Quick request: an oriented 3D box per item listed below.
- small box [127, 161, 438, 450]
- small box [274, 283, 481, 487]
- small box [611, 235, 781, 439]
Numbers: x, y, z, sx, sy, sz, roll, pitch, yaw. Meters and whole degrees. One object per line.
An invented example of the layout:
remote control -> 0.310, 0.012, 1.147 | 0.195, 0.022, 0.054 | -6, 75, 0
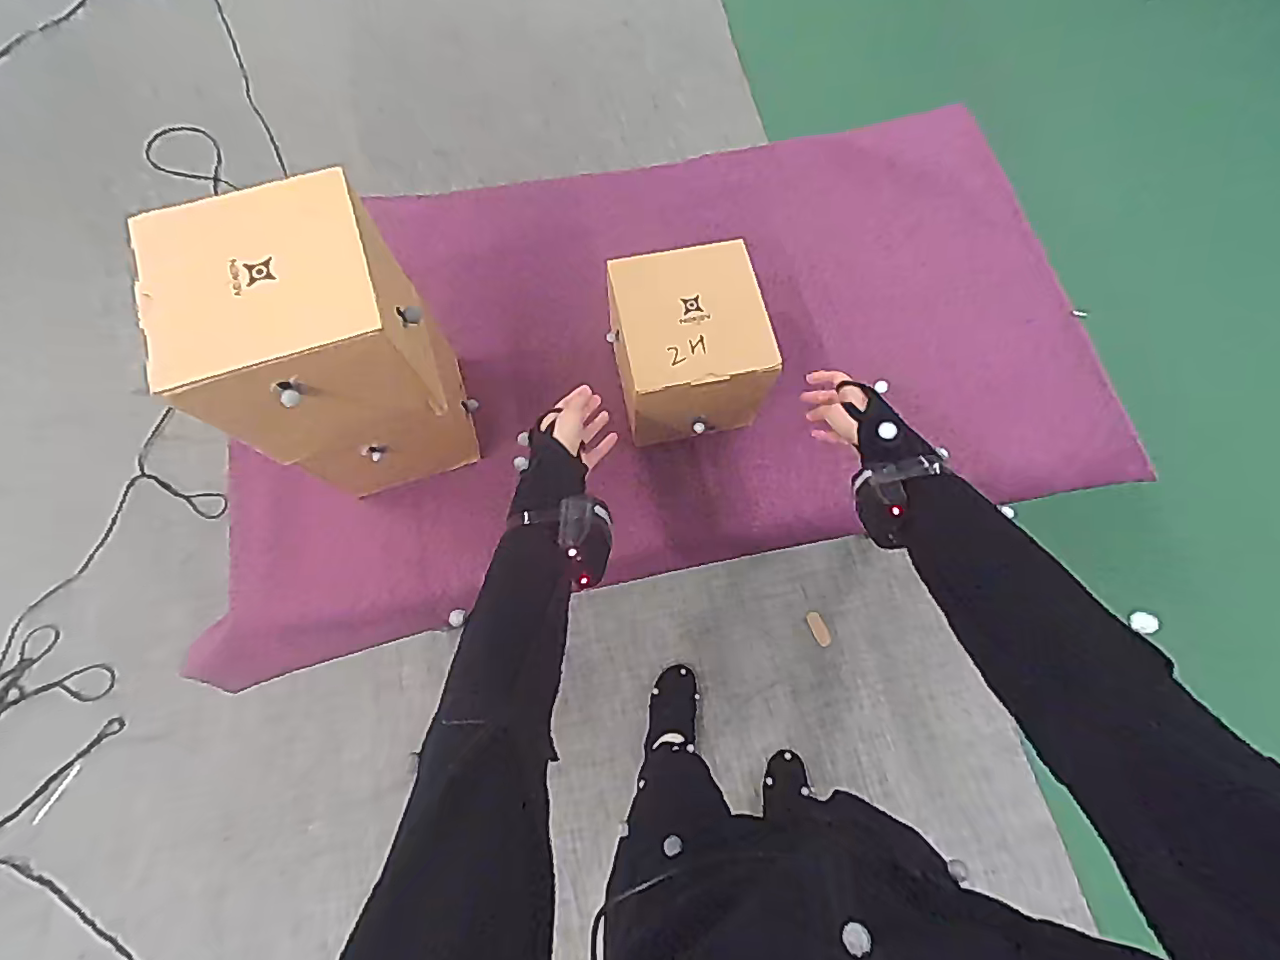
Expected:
small box -> -0.306, -0.146, 0.501 | 0.179, 0.176, 0.168 | -19, 76, -6
small box -> -0.314, -0.104, 0.657 | 0.179, 0.176, 0.168 | -16, 75, -6
small box -> 0.057, -0.170, 0.681 | 0.168, 0.176, 0.179 | -10, 74, -4
